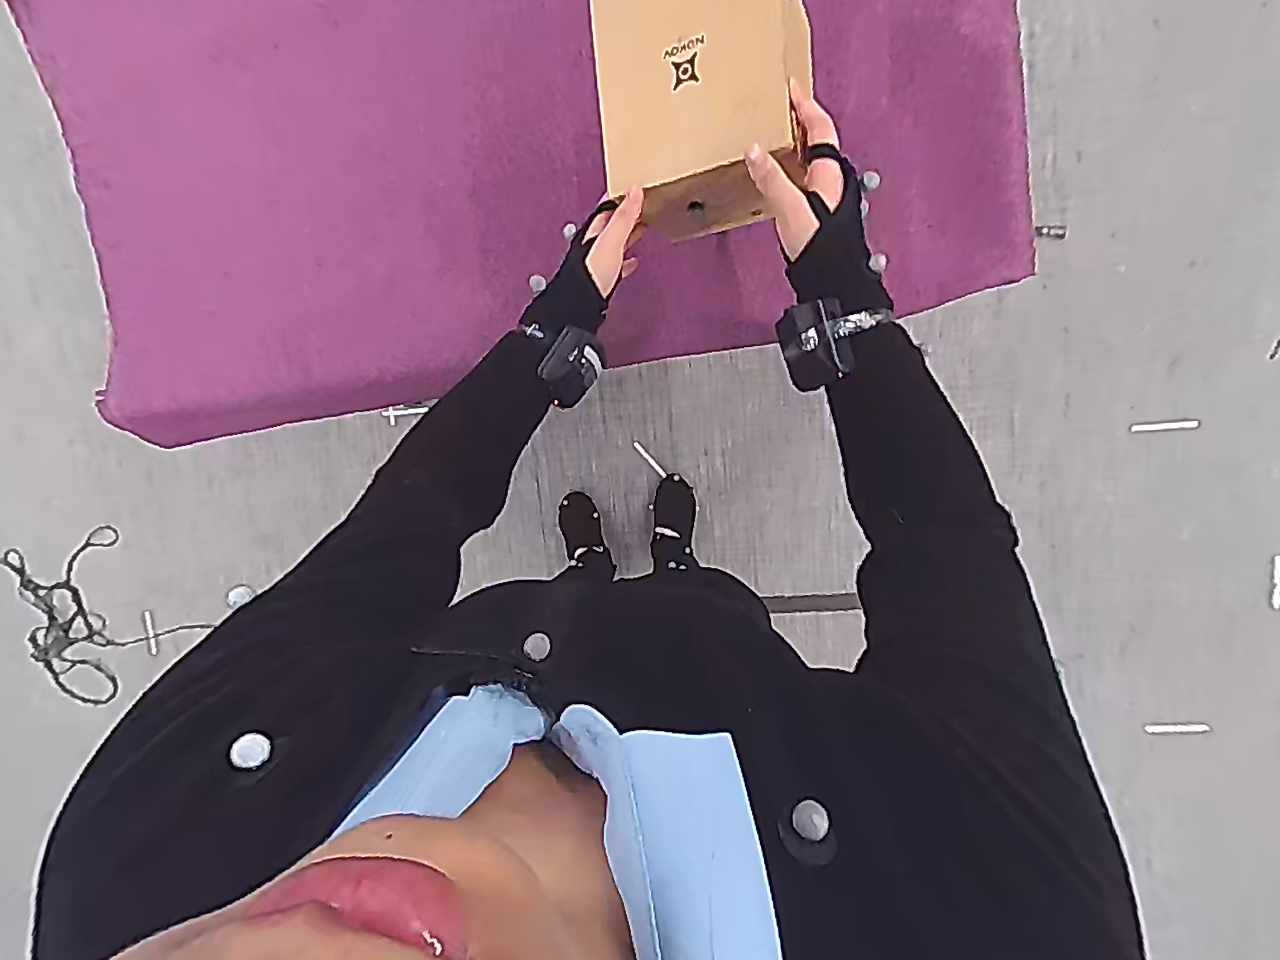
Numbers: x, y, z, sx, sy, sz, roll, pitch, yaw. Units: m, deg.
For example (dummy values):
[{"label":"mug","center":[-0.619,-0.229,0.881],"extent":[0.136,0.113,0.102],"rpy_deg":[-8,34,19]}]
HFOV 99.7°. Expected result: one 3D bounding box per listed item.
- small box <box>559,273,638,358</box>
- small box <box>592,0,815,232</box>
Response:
[{"label":"small box","center":[-0.097,-0.400,1.345],"extent":[0.168,0.176,0.179],"rpy_deg":[-4,96,5]},{"label":"small box","center":[0.072,-0.355,0.517],"extent":[0.168,0.176,0.179],"rpy_deg":[-2,98,24]}]
